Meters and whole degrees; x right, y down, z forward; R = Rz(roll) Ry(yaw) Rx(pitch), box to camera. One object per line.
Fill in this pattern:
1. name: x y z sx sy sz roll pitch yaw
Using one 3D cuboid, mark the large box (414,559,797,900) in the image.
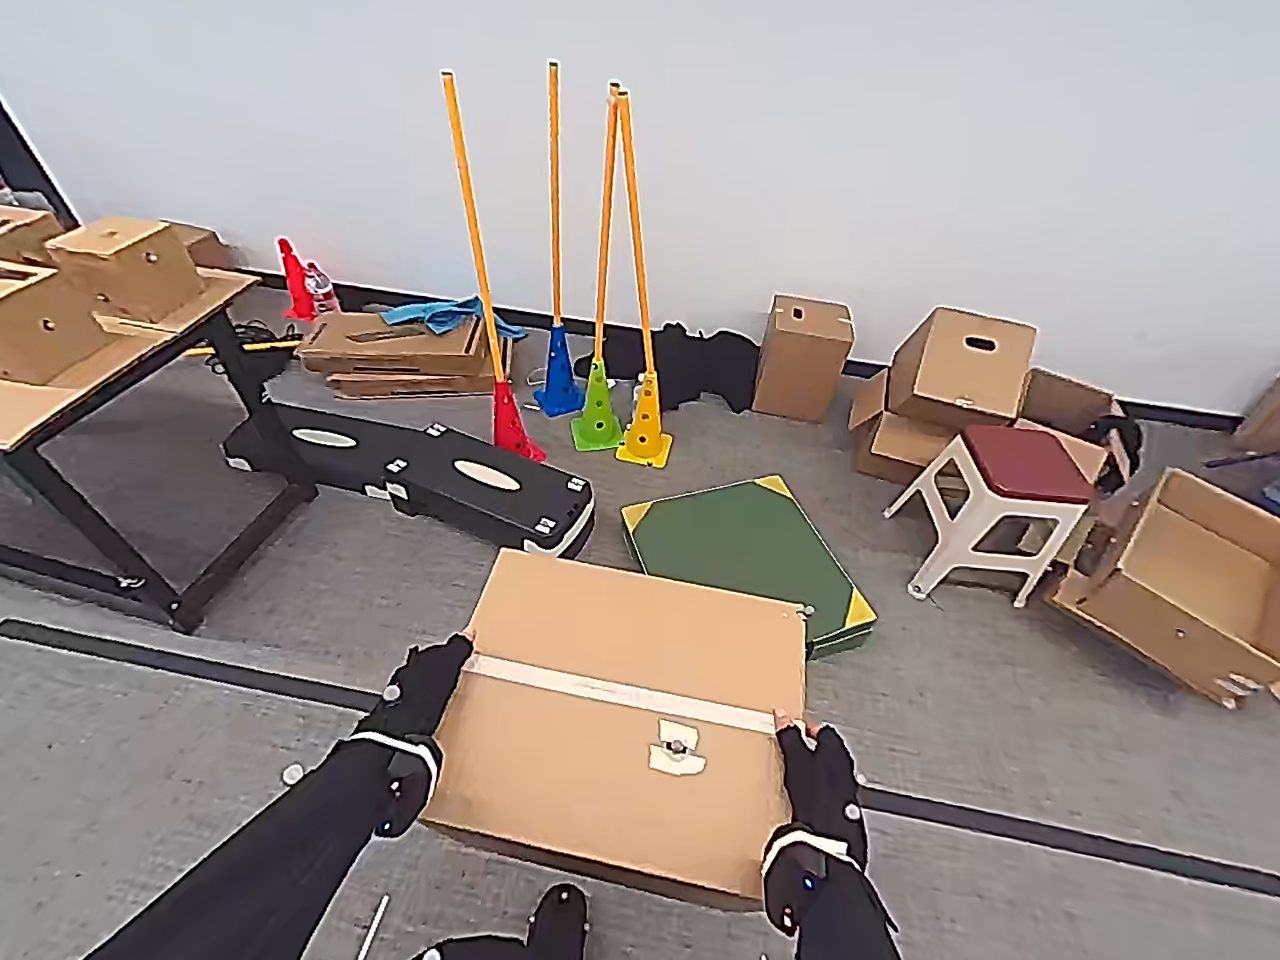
1. large box: -0.025 0.348 0.750 0.408 0.320 0.320 11 52 4
